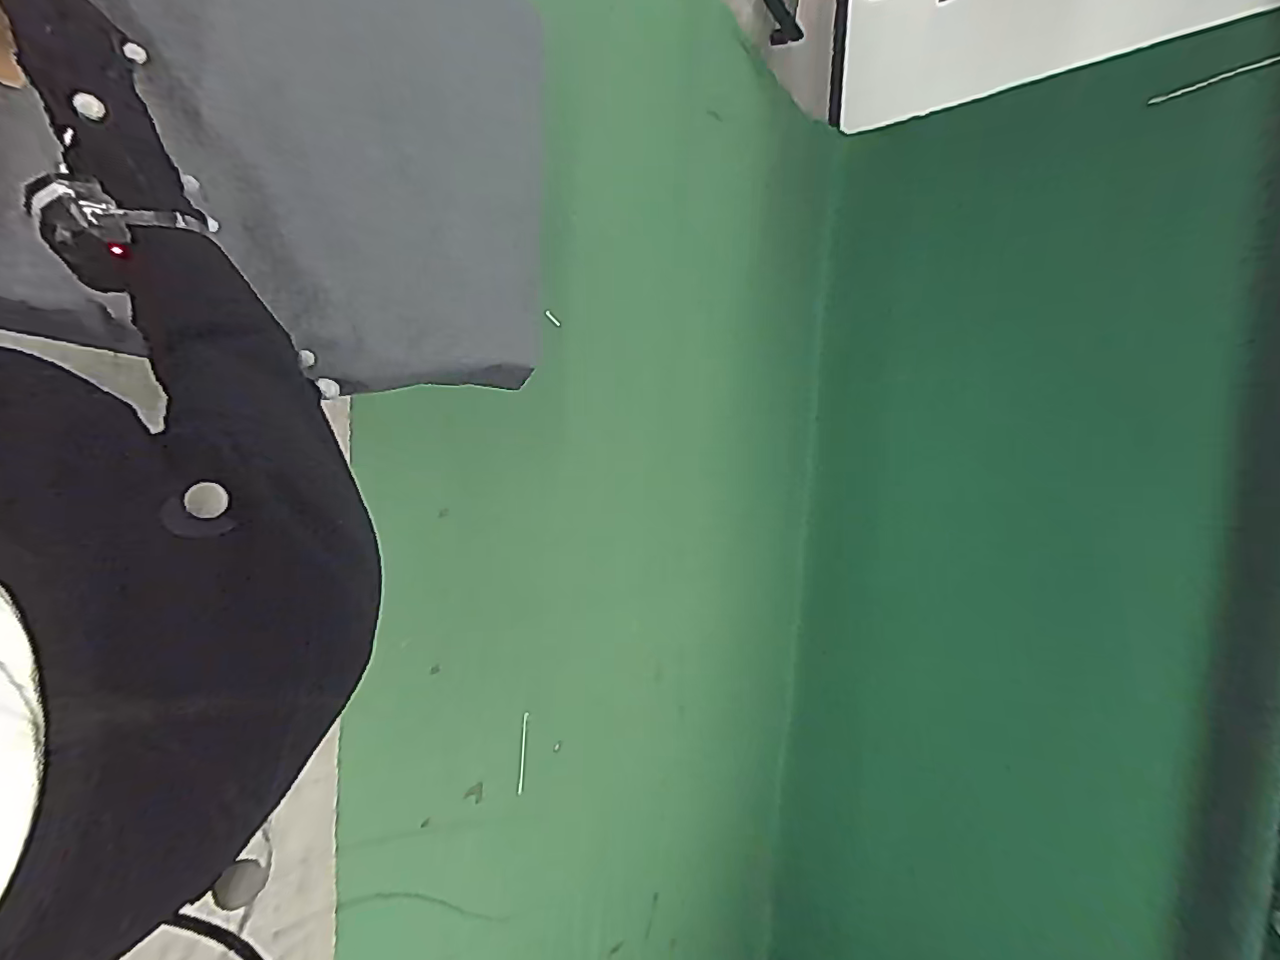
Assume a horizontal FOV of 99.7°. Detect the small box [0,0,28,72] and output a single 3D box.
[{"bbox_3d":[-0.555,-0.441,0.379,0.168,0.176,0.179,-2,96,-51],"label":"small box"}]
